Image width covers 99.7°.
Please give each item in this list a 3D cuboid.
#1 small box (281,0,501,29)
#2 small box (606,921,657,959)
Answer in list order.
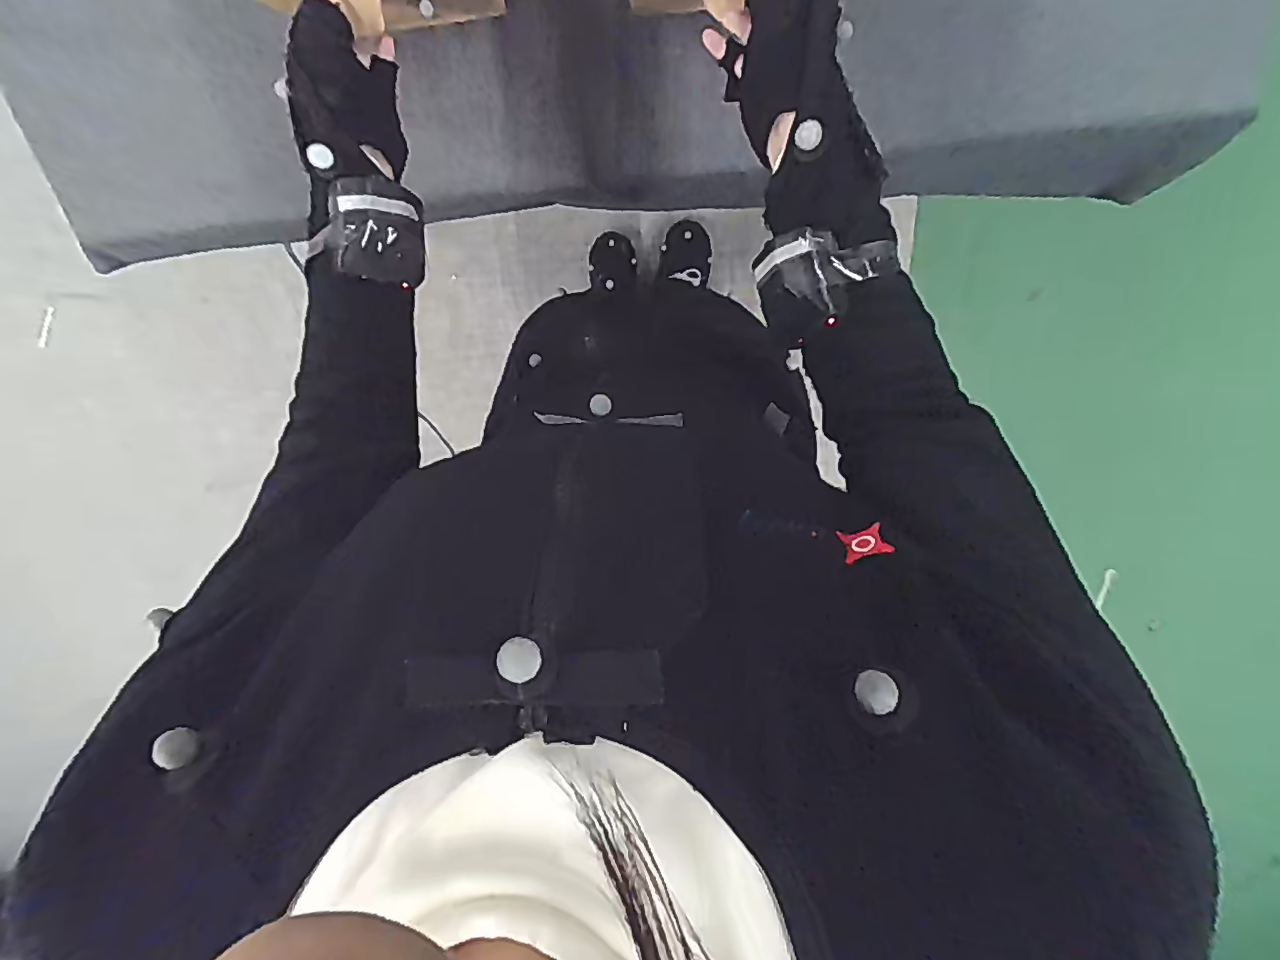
[{"bbox_3d":[-0.213,-0.465,0.398,0.168,0.176,0.179,-5,117,4],"label":"small box"},{"bbox_3d":[-0.032,1.757,1.976,0.179,0.176,0.168,3,113,4],"label":"small box"}]
